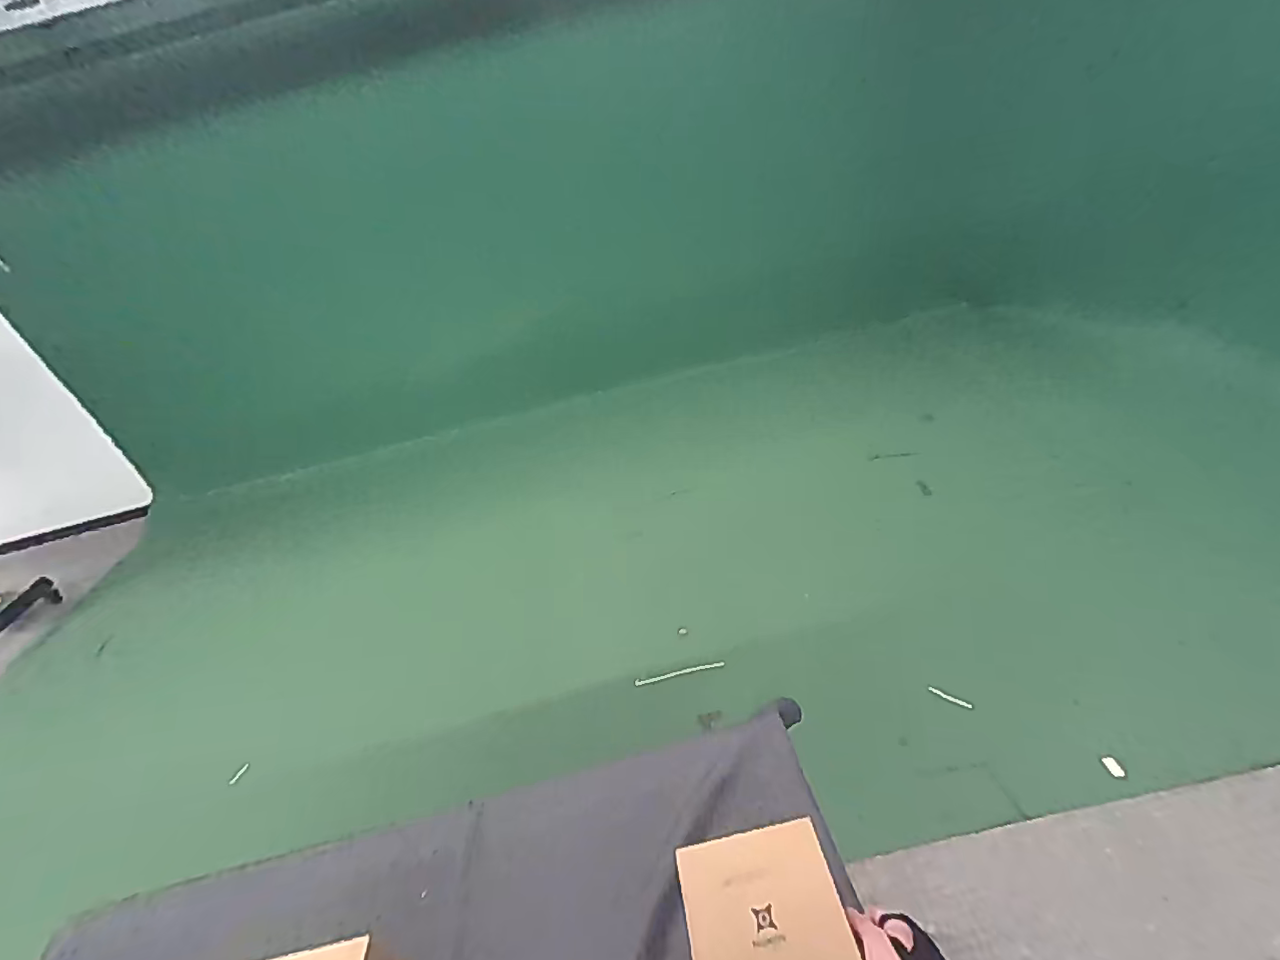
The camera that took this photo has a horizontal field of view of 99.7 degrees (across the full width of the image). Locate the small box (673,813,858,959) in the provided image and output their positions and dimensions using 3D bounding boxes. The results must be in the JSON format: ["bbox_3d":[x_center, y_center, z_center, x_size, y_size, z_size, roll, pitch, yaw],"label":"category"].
[{"bbox_3d":[0.143,0.519,0.606,0.168,0.176,0.179,-14,33,0],"label":"small box"}]
